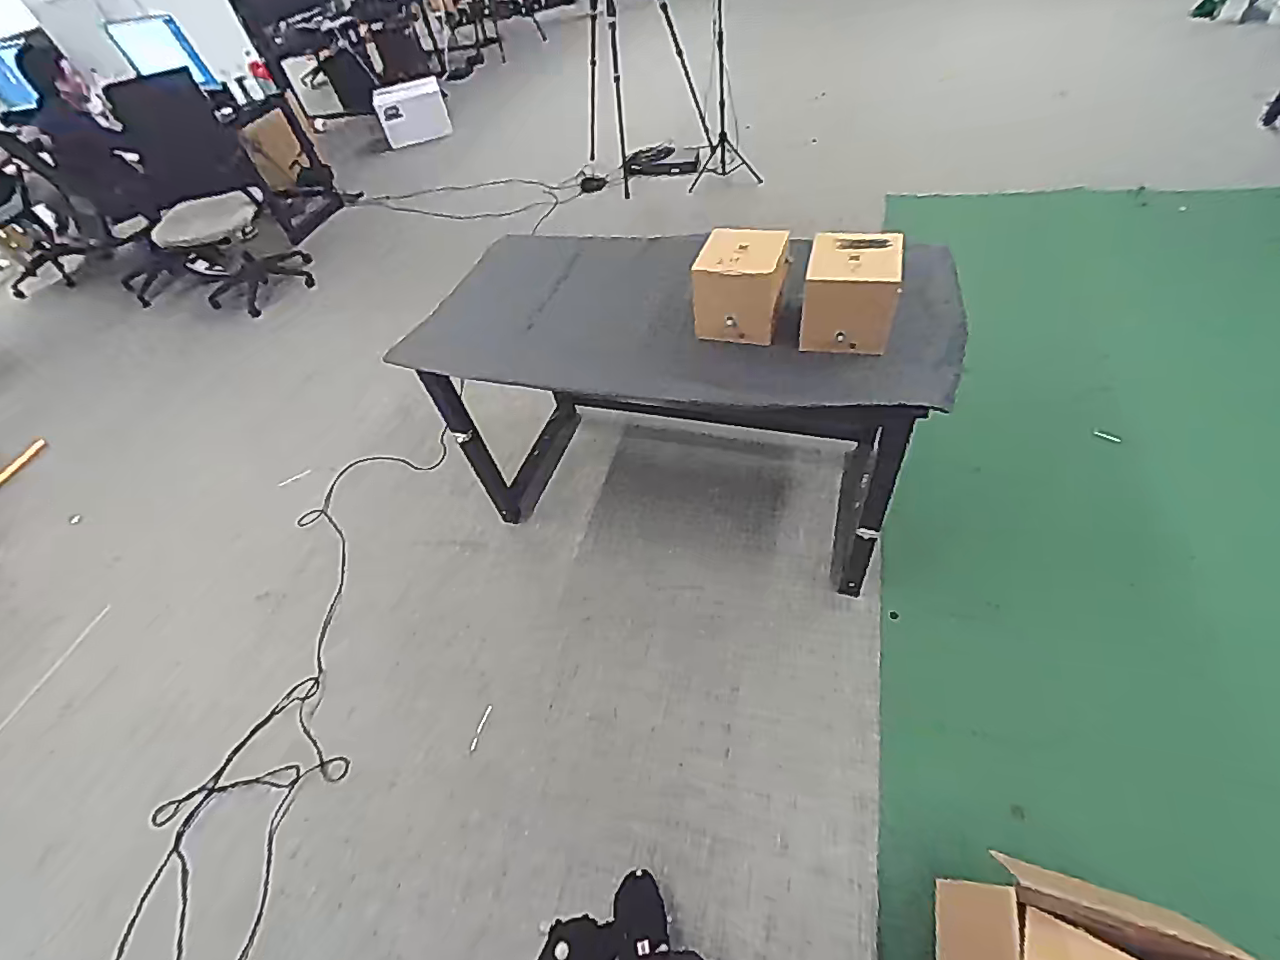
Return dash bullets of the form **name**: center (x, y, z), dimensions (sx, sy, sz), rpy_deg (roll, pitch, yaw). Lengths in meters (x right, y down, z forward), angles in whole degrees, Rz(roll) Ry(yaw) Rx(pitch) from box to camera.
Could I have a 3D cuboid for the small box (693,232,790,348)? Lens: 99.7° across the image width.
- **small box**: center (0.220, -0.412, 1.172), dimensions (0.168, 0.176, 0.179), rpy_deg (11, 53, 20)
